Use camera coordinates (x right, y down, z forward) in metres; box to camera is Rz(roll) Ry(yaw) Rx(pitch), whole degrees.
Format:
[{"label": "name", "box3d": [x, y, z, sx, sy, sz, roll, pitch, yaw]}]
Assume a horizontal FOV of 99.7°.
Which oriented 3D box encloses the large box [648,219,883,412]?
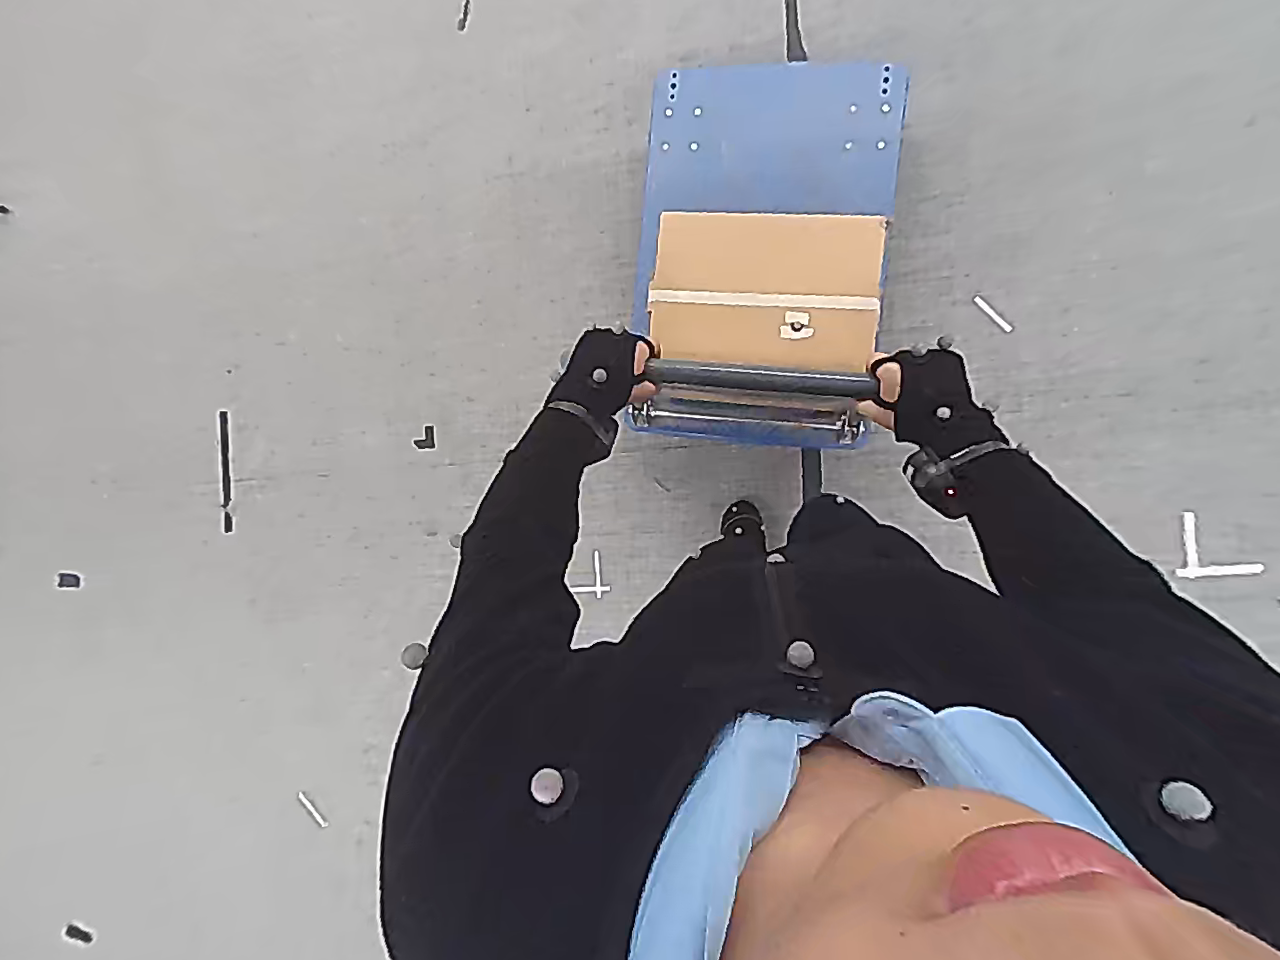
[{"label": "large box", "box3d": [0.242, -0.321, 1.129, 0.408, 0.320, 0.320, 6, 93, 9]}]
